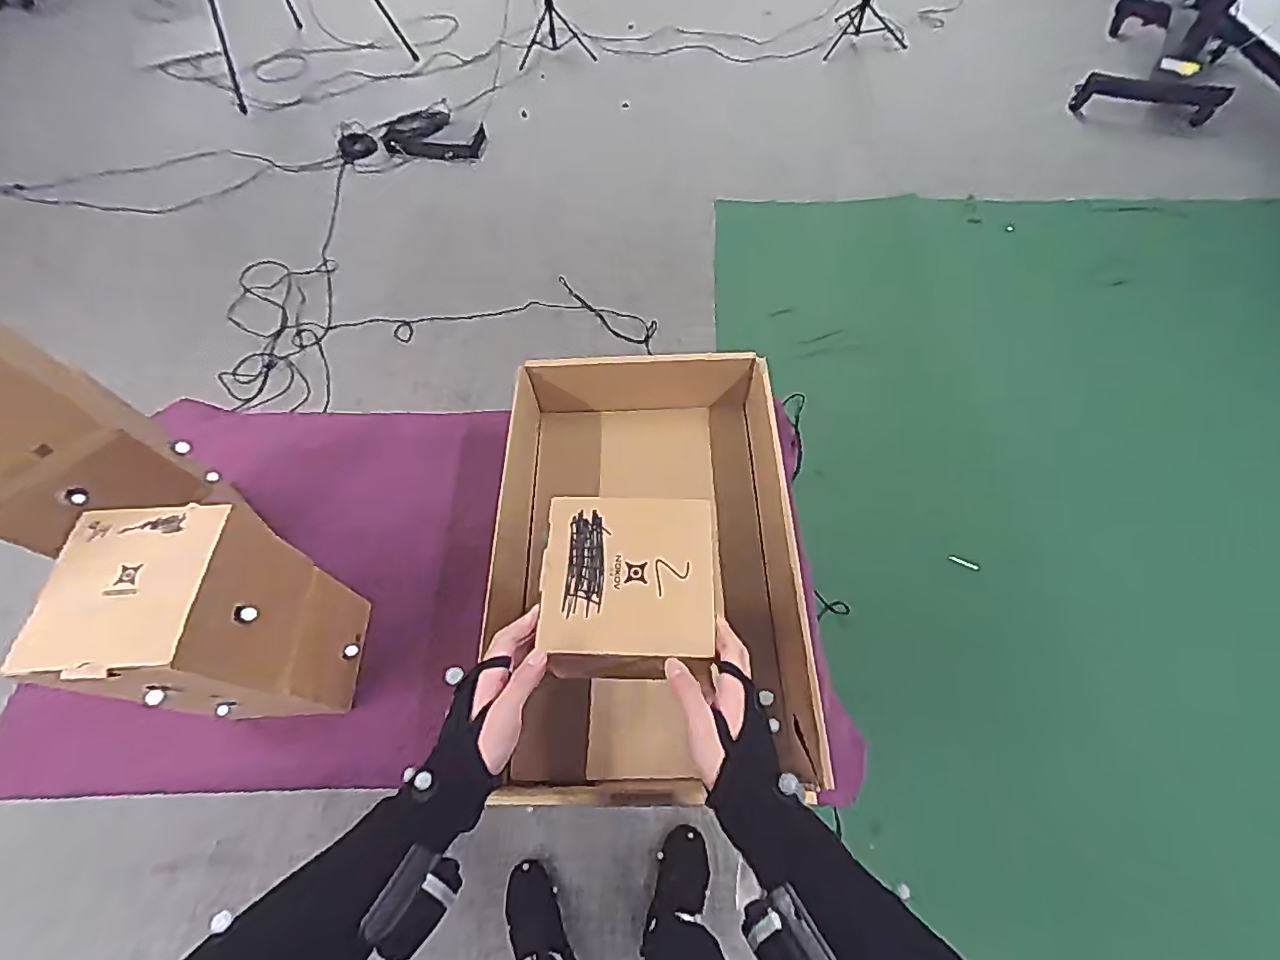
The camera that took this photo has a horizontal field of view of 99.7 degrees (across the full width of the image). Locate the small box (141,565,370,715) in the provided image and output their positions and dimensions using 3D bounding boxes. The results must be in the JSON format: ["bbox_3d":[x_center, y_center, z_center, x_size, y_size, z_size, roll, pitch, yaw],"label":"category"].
[{"bbox_3d":[-0.514,0.229,0.756,0.179,0.176,0.168,-3,60,-1],"label":"small box"}]

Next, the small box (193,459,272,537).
[{"bbox_3d":[-0.734,0.066,0.851,0.179,0.176,0.168,38,68,19],"label":"small box"}]

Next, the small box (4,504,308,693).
[{"bbox_3d":[-0.518,0.143,0.617,0.168,0.176,0.179,-2,61,0],"label":"small box"}]

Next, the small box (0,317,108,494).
[{"bbox_3d":[-0.737,-0.095,0.569,0.179,0.176,0.168,36,68,18],"label":"small box"}]

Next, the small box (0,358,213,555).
[{"bbox_3d":[-0.730,-0.016,0.710,0.168,0.176,0.179,38,68,18],"label":"small box"}]
